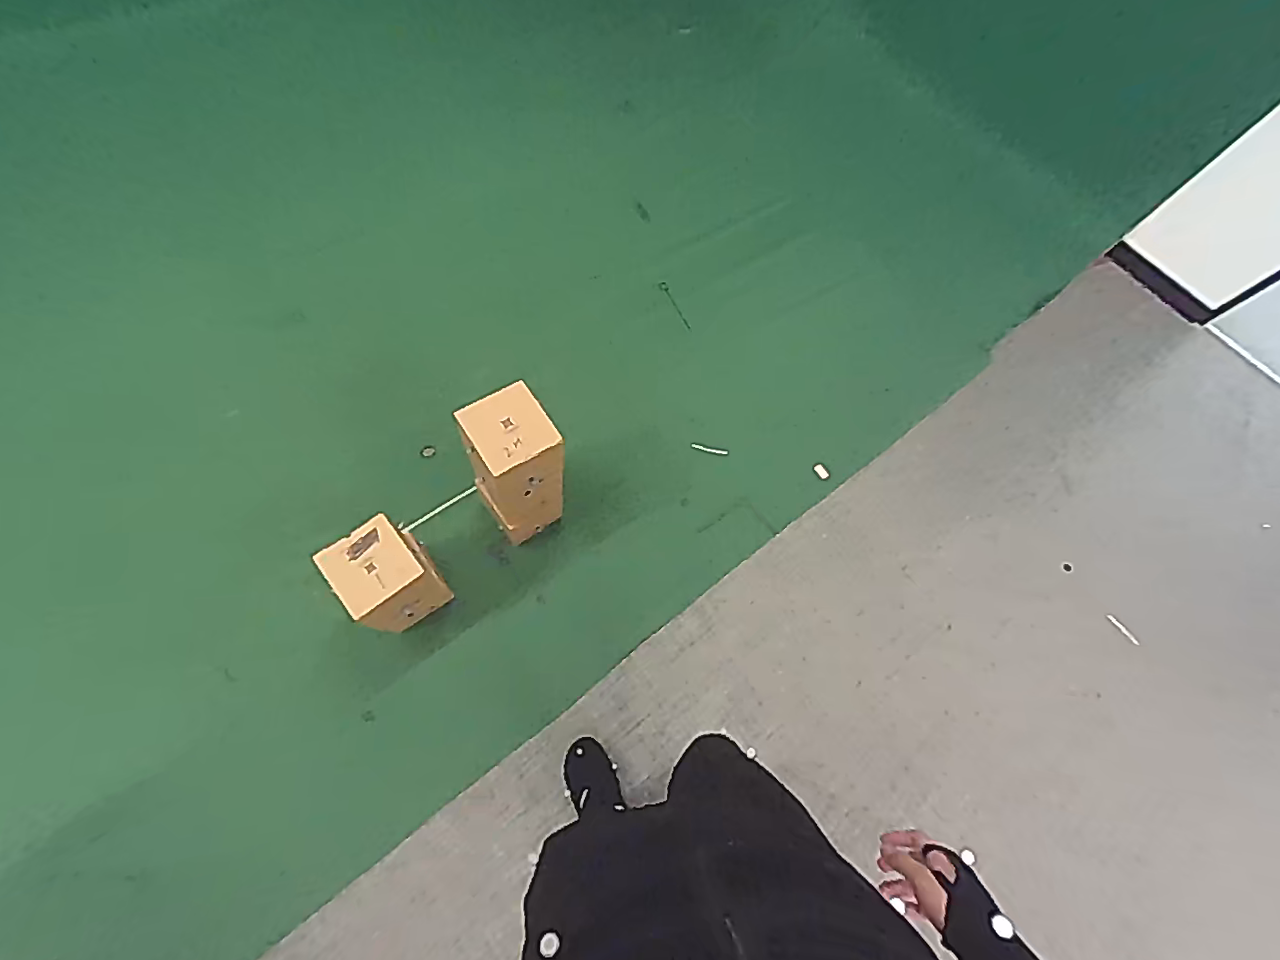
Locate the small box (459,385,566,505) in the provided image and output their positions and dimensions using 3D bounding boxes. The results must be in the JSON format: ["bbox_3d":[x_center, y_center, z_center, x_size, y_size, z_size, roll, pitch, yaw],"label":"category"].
[{"bbox_3d":[-0.280,-0.073,1.210,0.168,0.176,0.179,-30,75,-18],"label":"small box"}]

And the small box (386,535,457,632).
[{"bbox_3d":[-0.594,0.272,1.385,0.168,0.176,0.179,-34,74,-18],"label":"small box"}]

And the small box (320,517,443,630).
[{"bbox_3d":[-0.578,0.219,1.230,0.168,0.176,0.179,-37,77,-19],"label":"small box"}]

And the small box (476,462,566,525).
[{"bbox_3d":[-0.301,-0.014,1.362,0.168,0.176,0.179,-31,74,-19],"label":"small box"}]
